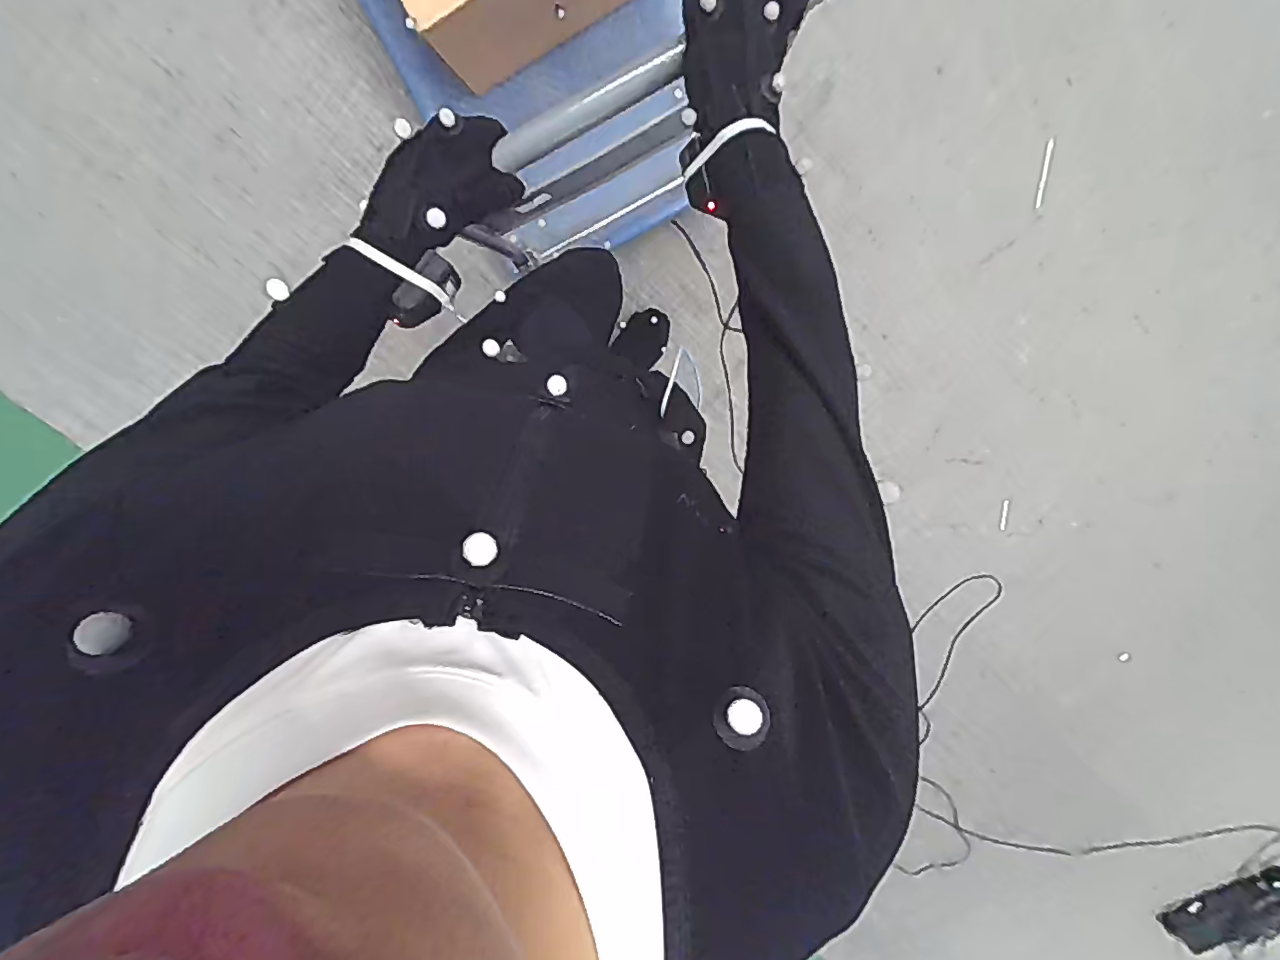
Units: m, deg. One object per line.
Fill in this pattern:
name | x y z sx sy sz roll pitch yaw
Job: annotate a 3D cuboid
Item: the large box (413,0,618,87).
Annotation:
large box | -0.197 -0.912 0.831 0.408 0.320 0.320 -26 109 10
